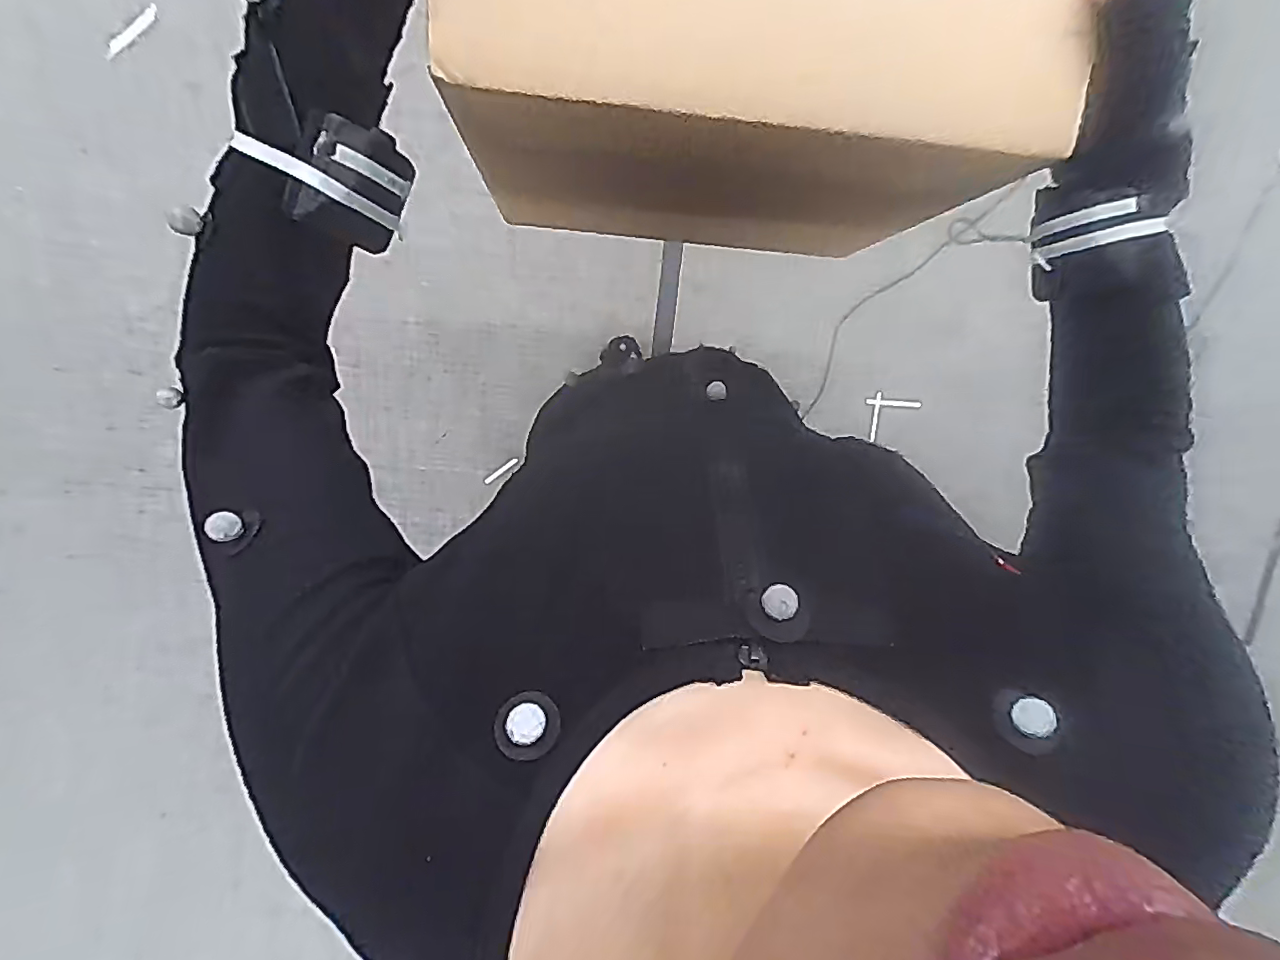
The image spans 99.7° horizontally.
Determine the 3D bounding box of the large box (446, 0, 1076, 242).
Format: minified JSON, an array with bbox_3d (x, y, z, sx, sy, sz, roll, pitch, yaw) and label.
[{"bbox_3d":[0.070,-0.412,0.459,0.408,0.320,0.320,2,102,-7],"label":"large box"}]
